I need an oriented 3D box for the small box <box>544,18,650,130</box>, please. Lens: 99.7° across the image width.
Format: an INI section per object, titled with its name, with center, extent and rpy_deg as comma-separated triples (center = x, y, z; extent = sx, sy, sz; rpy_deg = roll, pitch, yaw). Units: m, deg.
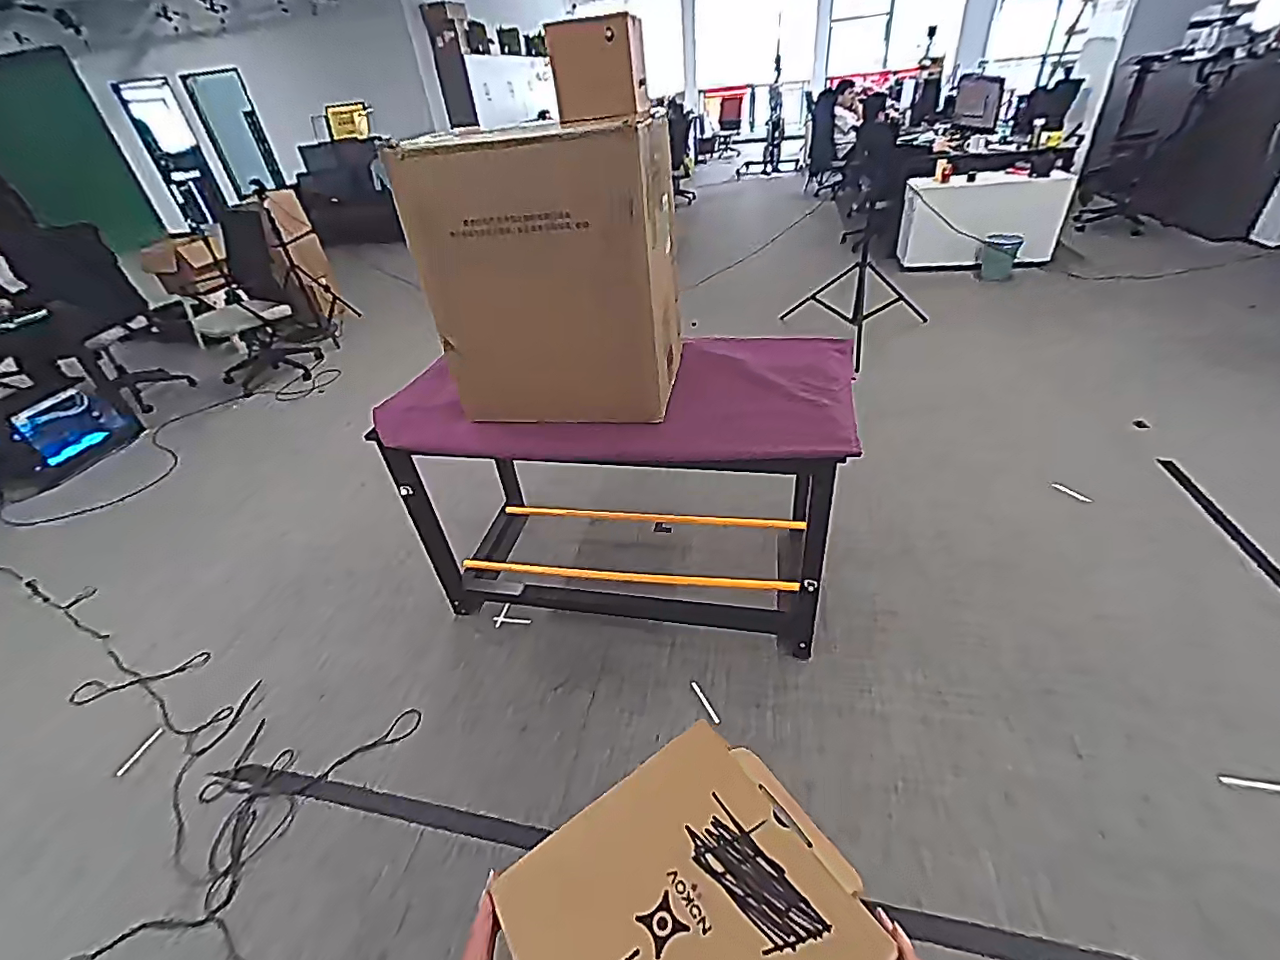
[small box]
center = -0.083, -0.861, 1.158
extent = 0.179, 0.176, 0.168
rpy_deg = 1, 36, 12
